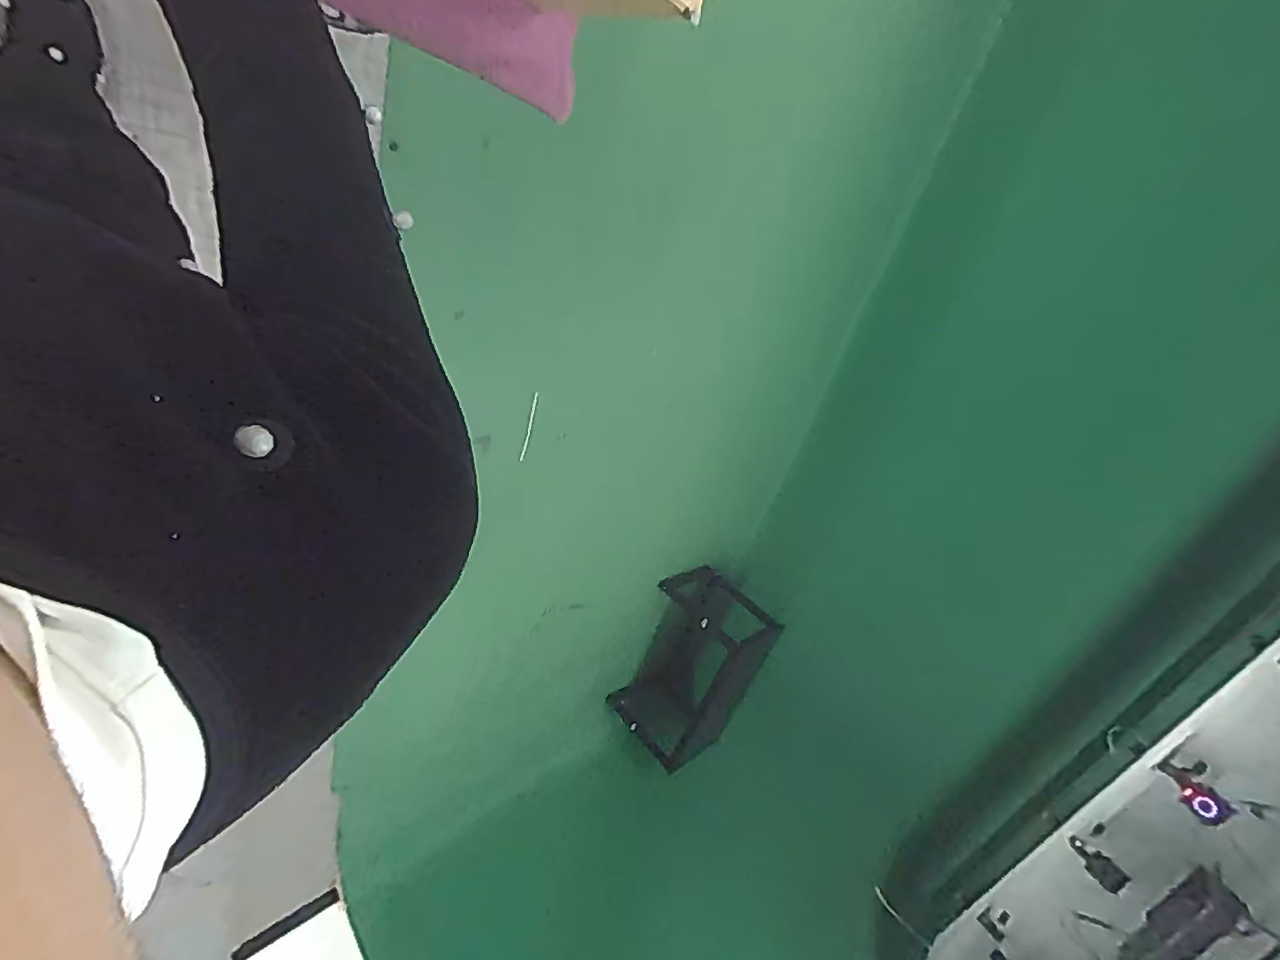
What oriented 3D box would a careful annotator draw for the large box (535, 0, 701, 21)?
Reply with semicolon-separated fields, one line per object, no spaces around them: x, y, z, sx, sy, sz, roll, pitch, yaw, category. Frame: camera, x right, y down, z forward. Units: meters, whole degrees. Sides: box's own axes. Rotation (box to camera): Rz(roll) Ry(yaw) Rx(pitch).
-0.081;-0.765;0.522;0.320;0.320;0.408;-10;129;-45;large box
